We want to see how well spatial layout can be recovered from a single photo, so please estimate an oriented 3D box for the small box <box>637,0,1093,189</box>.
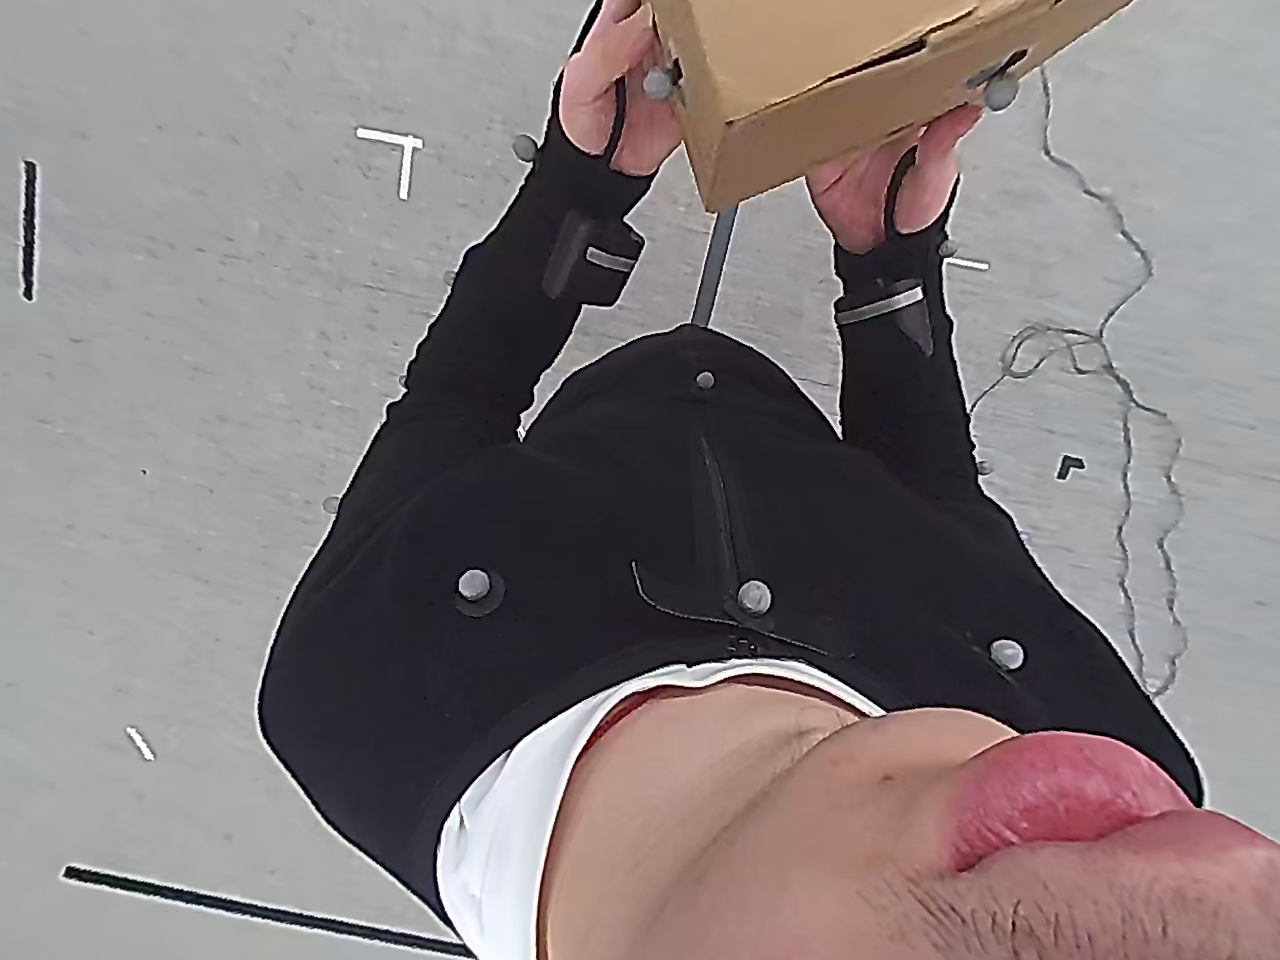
[{"bbox_3d":[0.080,-0.241,0.215,0.168,0.176,0.179,-20,104,9],"label":"small box"}]
